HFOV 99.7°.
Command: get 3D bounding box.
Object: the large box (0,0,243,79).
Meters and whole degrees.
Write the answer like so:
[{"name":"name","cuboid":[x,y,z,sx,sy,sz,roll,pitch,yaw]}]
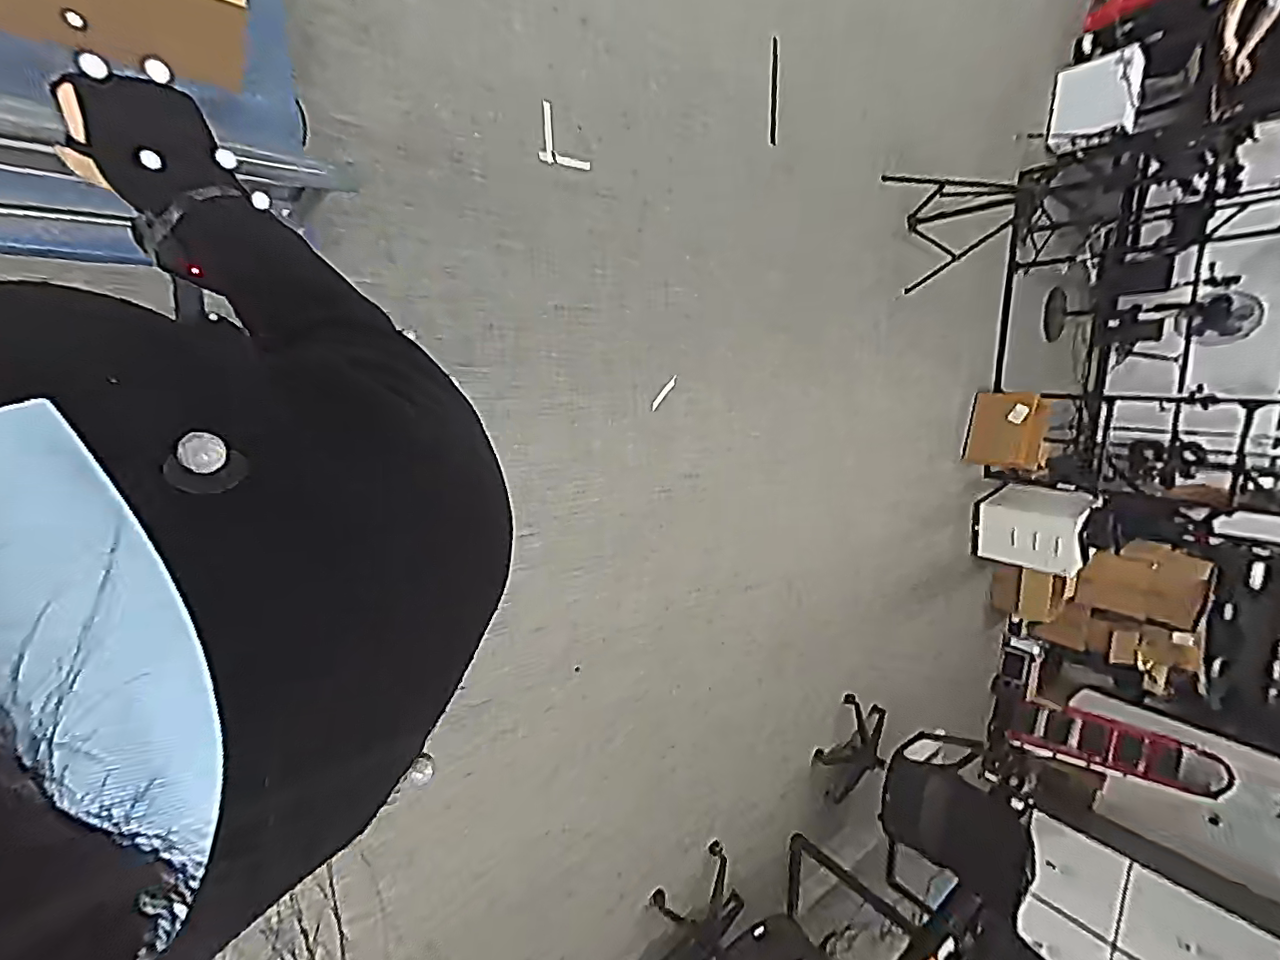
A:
[{"name":"large box","cuboid":[-0.805,-0.823,0.725,0.408,0.320,0.320,-8,103,-36]}]
